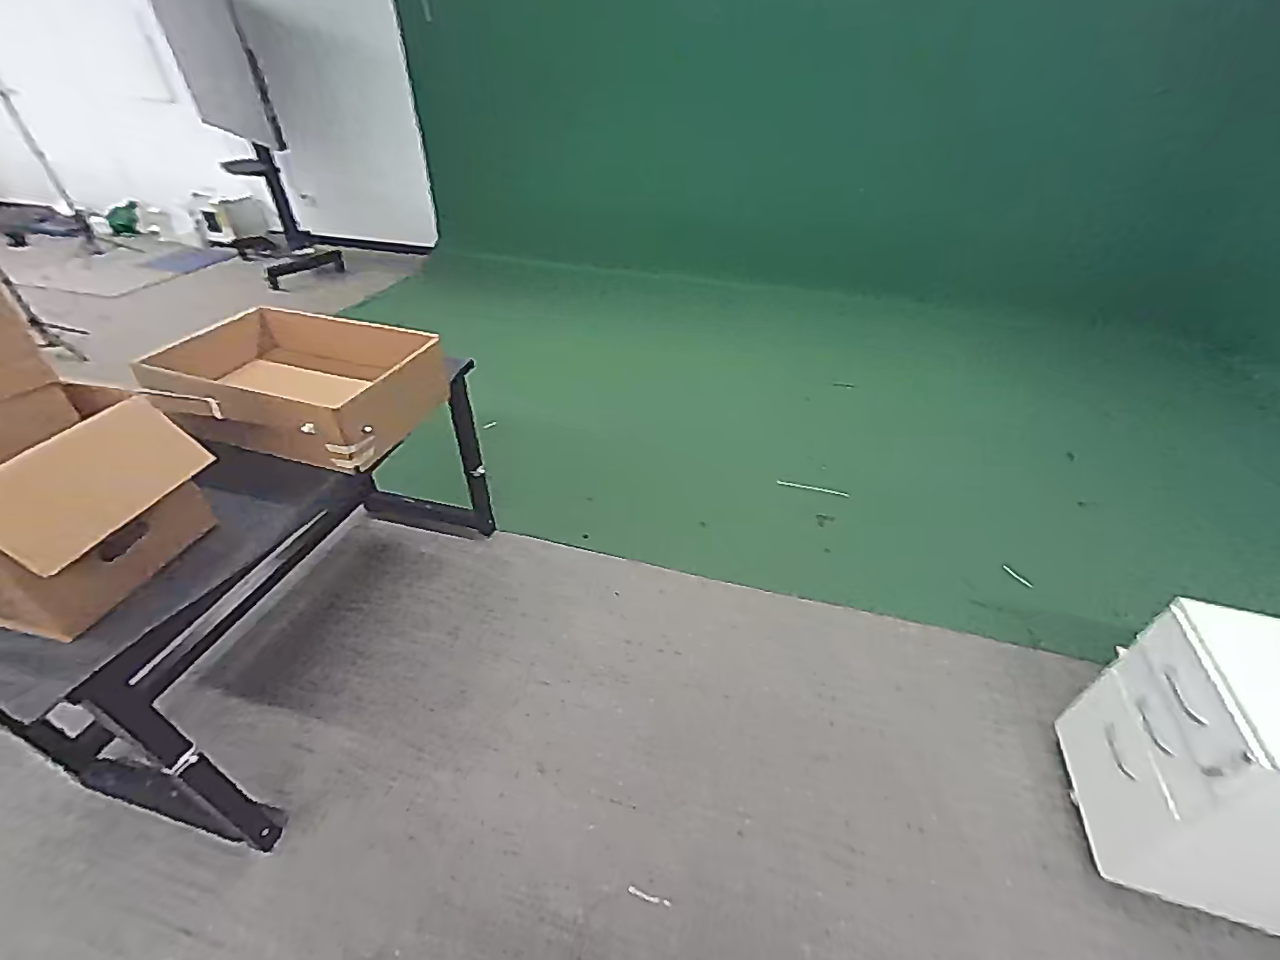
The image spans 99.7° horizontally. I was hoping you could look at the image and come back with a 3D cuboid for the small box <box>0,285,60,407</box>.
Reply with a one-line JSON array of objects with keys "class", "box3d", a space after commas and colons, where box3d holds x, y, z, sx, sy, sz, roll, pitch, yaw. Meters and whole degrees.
[{"class": "small box", "box3d": [-1.056, -0.190, 0.806, 0.168, 0.176, 0.179, 9, 34, 13]}]
